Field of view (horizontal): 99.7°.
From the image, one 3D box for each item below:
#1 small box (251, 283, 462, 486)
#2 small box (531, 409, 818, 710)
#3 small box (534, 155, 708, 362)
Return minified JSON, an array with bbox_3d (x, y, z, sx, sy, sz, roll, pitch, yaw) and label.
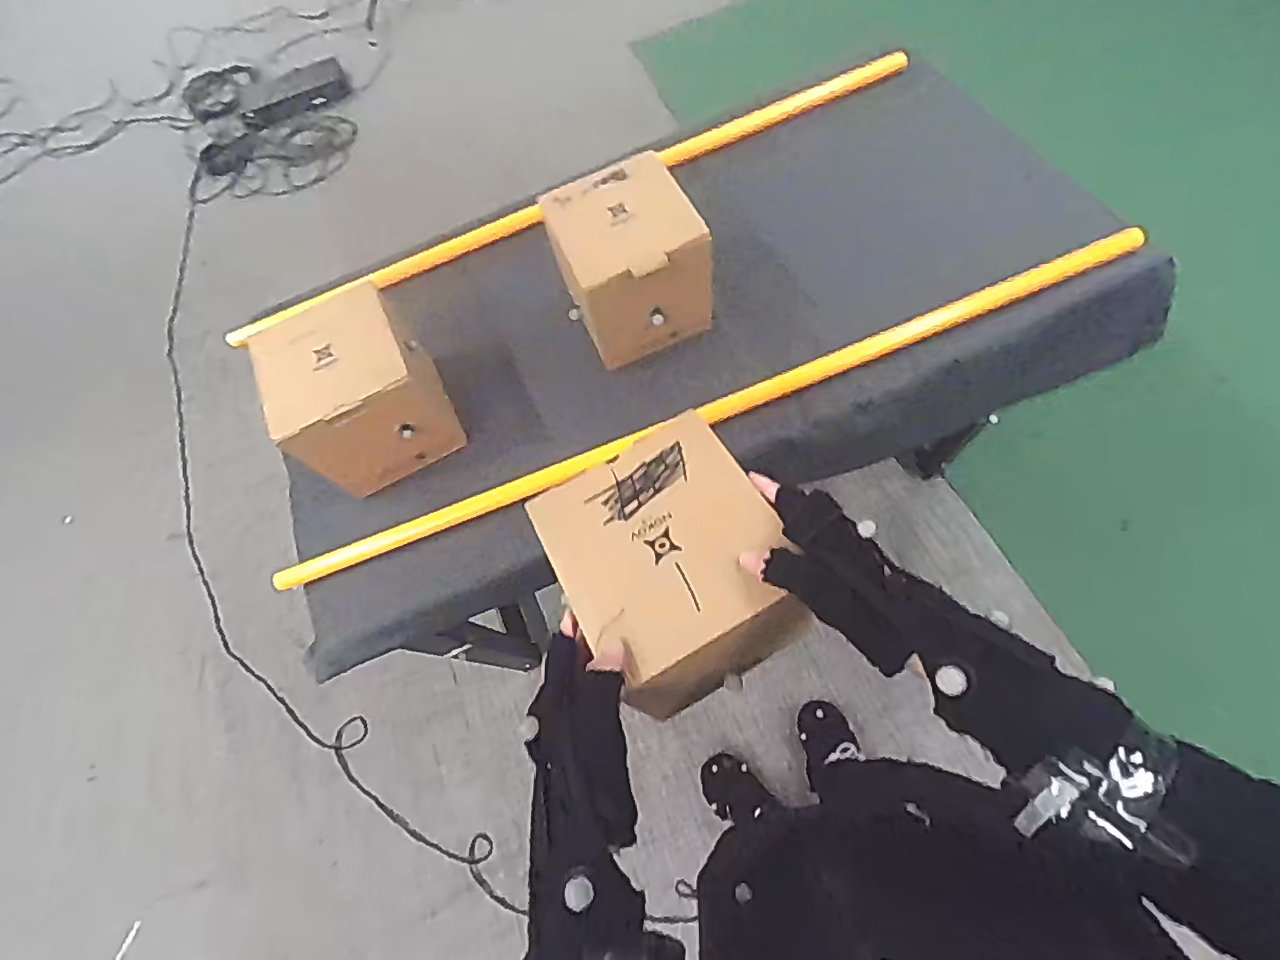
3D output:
[{"bbox_3d":[-0.359,-0.112,0.710,0.168,0.176,0.179,-28,64,-6],"label":"small box"},{"bbox_3d":[0.032,0.078,0.477,0.168,0.176,0.179,-30,59,-2],"label":"small box"},{"bbox_3d":[-0.017,-0.286,0.737,0.168,0.176,0.179,-27,65,-2],"label":"small box"}]
